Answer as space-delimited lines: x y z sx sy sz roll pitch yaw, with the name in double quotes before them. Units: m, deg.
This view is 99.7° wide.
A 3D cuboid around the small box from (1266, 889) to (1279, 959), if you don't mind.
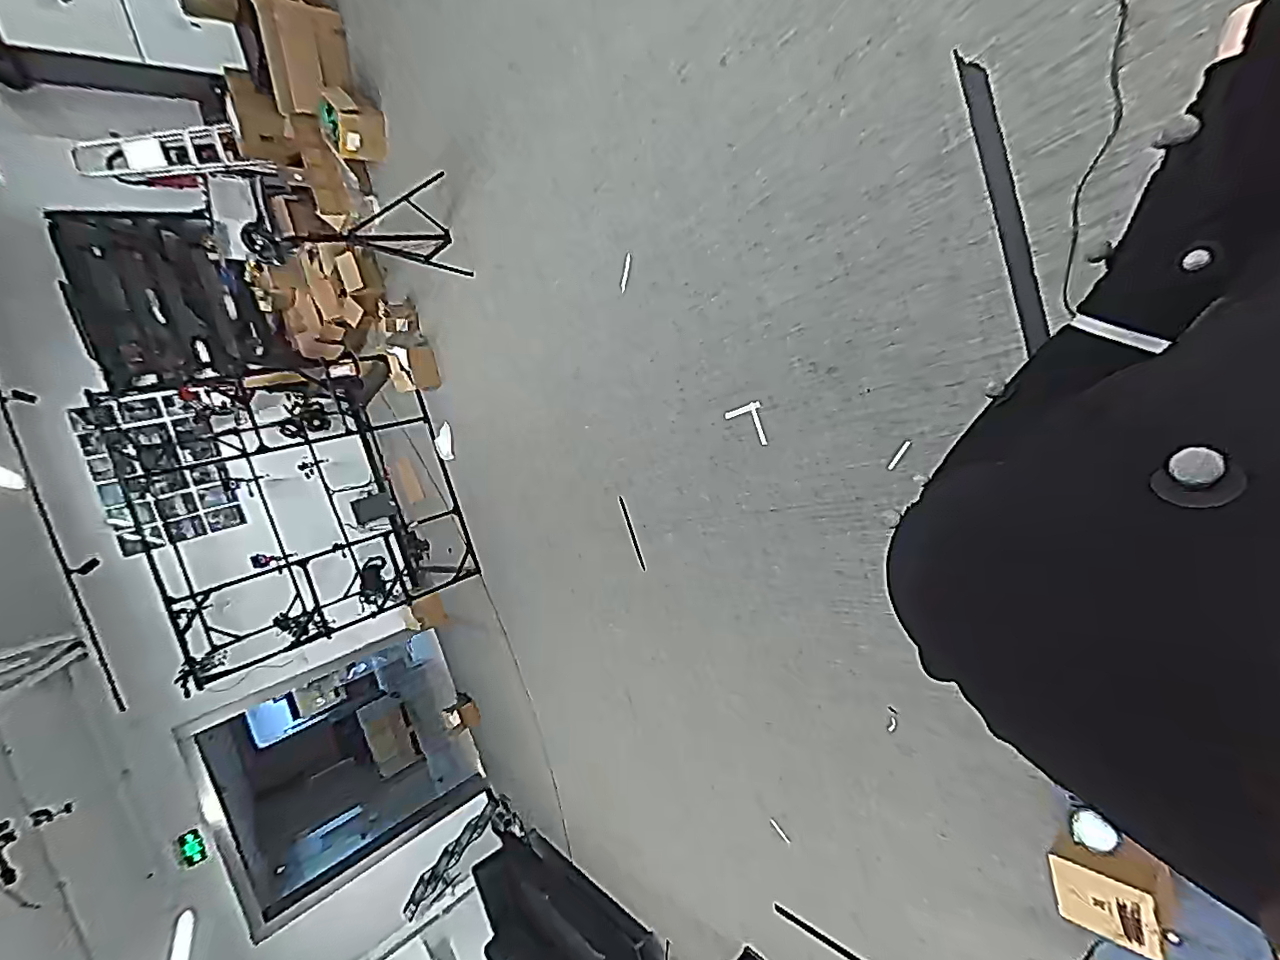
"small box" 1.233 0.860 0.938 0.179 0.176 0.168 -5 103 52
